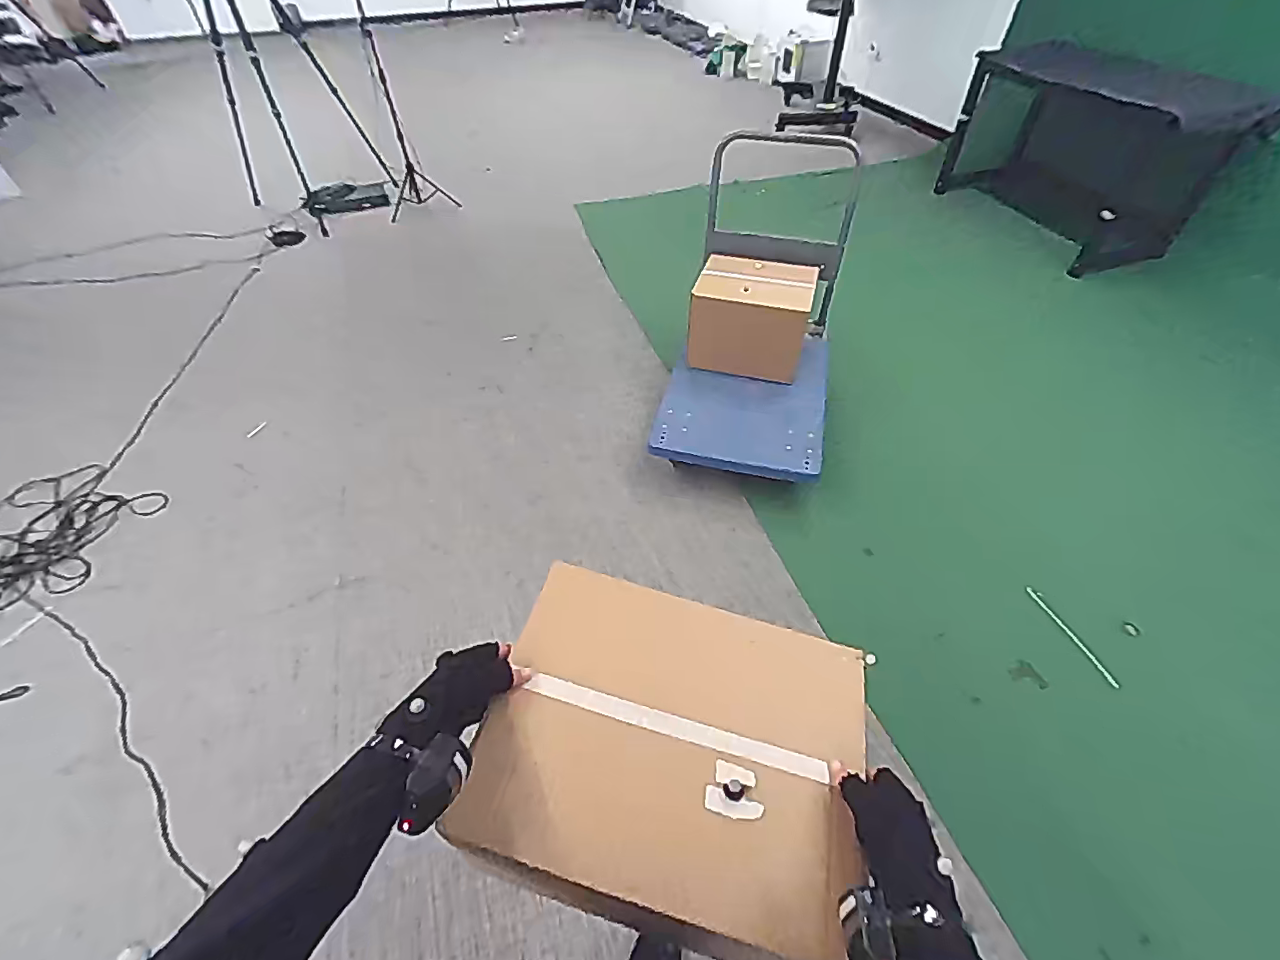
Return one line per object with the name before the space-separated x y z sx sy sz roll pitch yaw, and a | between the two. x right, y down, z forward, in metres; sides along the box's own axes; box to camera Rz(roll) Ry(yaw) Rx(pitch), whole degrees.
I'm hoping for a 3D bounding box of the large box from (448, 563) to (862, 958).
large box | 0.022 0.362 0.702 0.408 0.320 0.320 16 49 4
